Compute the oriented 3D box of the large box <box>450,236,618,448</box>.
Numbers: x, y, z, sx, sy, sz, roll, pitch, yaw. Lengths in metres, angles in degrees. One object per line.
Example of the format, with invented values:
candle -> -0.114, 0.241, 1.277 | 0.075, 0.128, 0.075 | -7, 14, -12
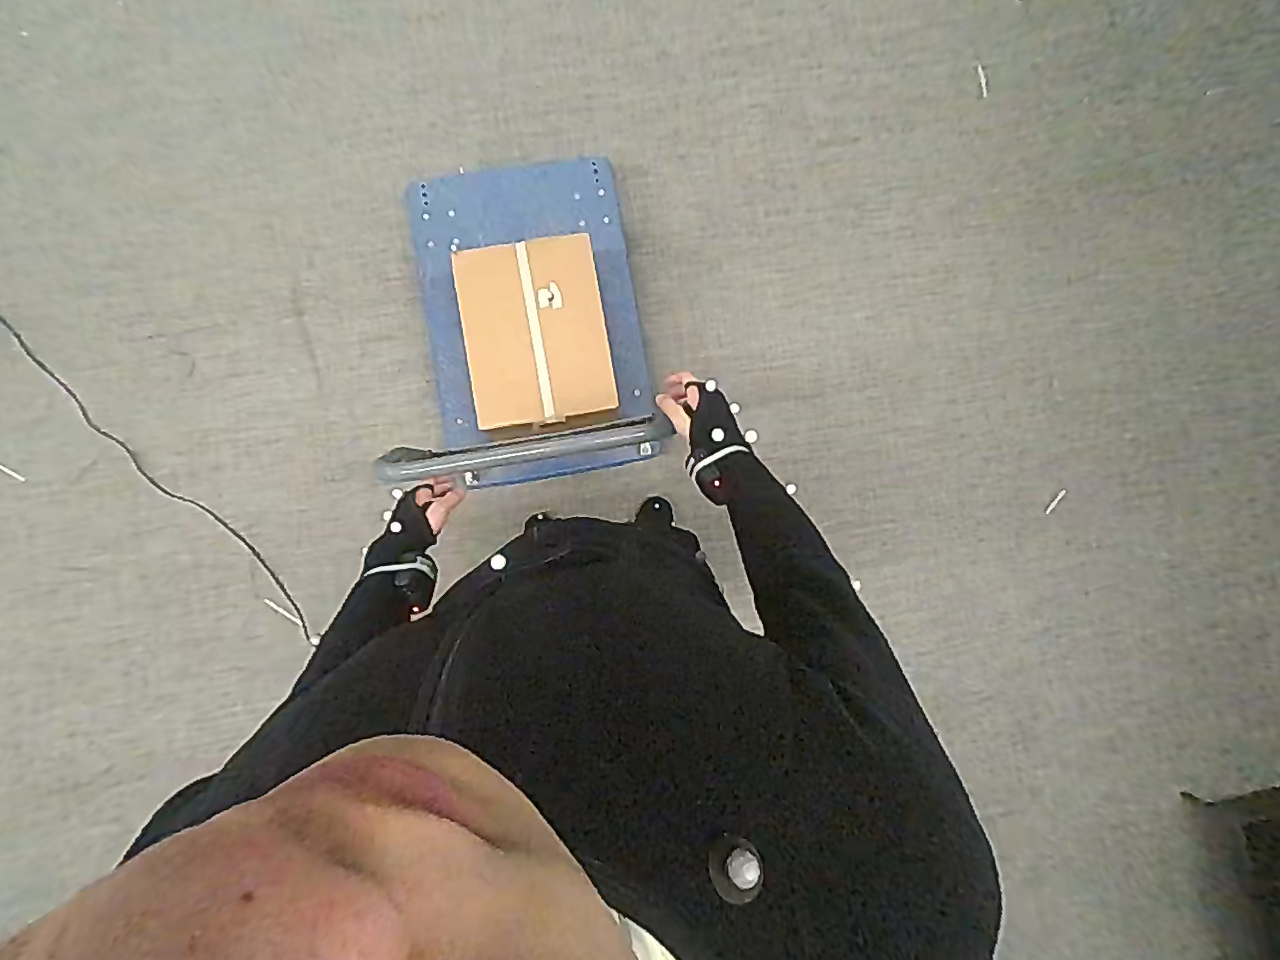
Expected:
large box -> -0.244, -0.319, 1.346 | 0.320, 0.320, 0.408 | -10, 87, -5
